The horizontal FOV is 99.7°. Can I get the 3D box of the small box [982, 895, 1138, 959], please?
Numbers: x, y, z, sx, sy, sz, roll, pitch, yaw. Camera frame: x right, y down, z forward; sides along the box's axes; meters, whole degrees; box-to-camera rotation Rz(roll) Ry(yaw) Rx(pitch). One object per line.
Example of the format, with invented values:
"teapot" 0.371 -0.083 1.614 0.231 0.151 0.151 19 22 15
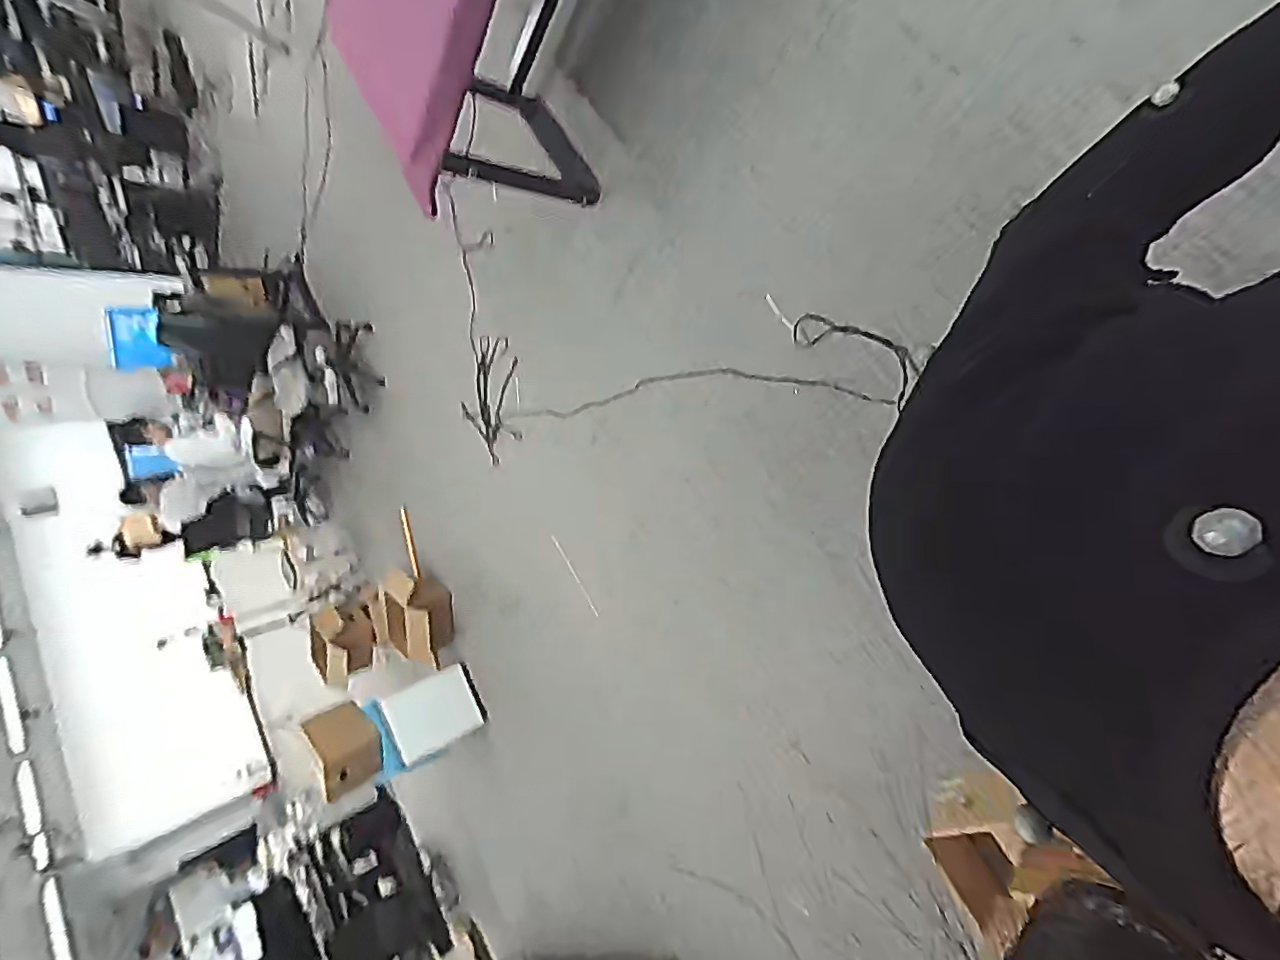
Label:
"small box" 0.647 0.772 0.811 0.168 0.176 0.179 -37 75 44
